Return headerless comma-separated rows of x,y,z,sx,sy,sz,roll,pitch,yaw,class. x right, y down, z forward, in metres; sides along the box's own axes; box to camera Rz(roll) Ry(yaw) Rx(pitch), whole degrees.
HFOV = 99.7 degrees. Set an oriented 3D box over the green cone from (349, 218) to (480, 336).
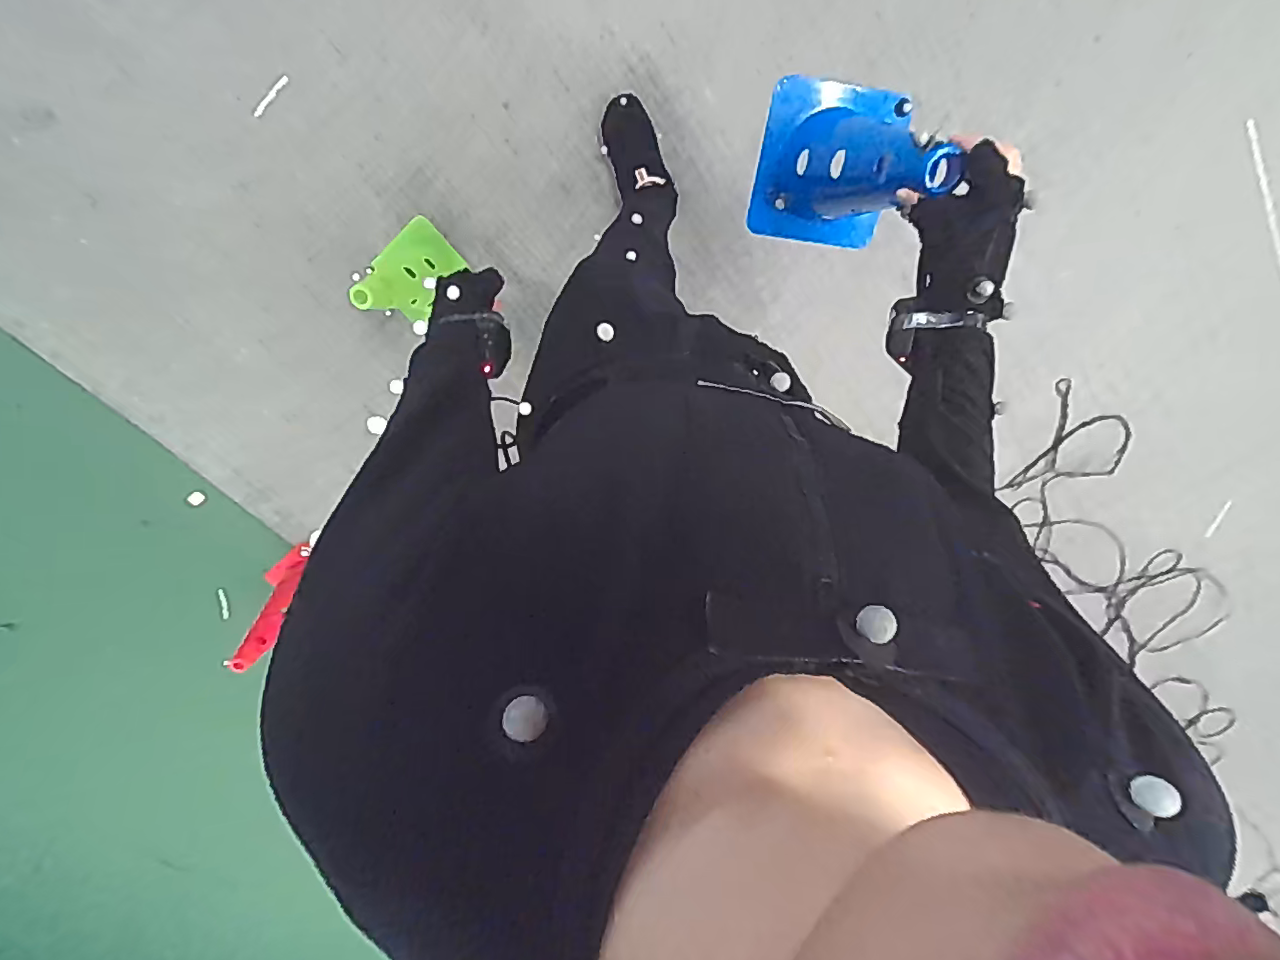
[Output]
-0.497,-0.392,1.105,0.202,0.368,0.200,-38,112,14,green cone
